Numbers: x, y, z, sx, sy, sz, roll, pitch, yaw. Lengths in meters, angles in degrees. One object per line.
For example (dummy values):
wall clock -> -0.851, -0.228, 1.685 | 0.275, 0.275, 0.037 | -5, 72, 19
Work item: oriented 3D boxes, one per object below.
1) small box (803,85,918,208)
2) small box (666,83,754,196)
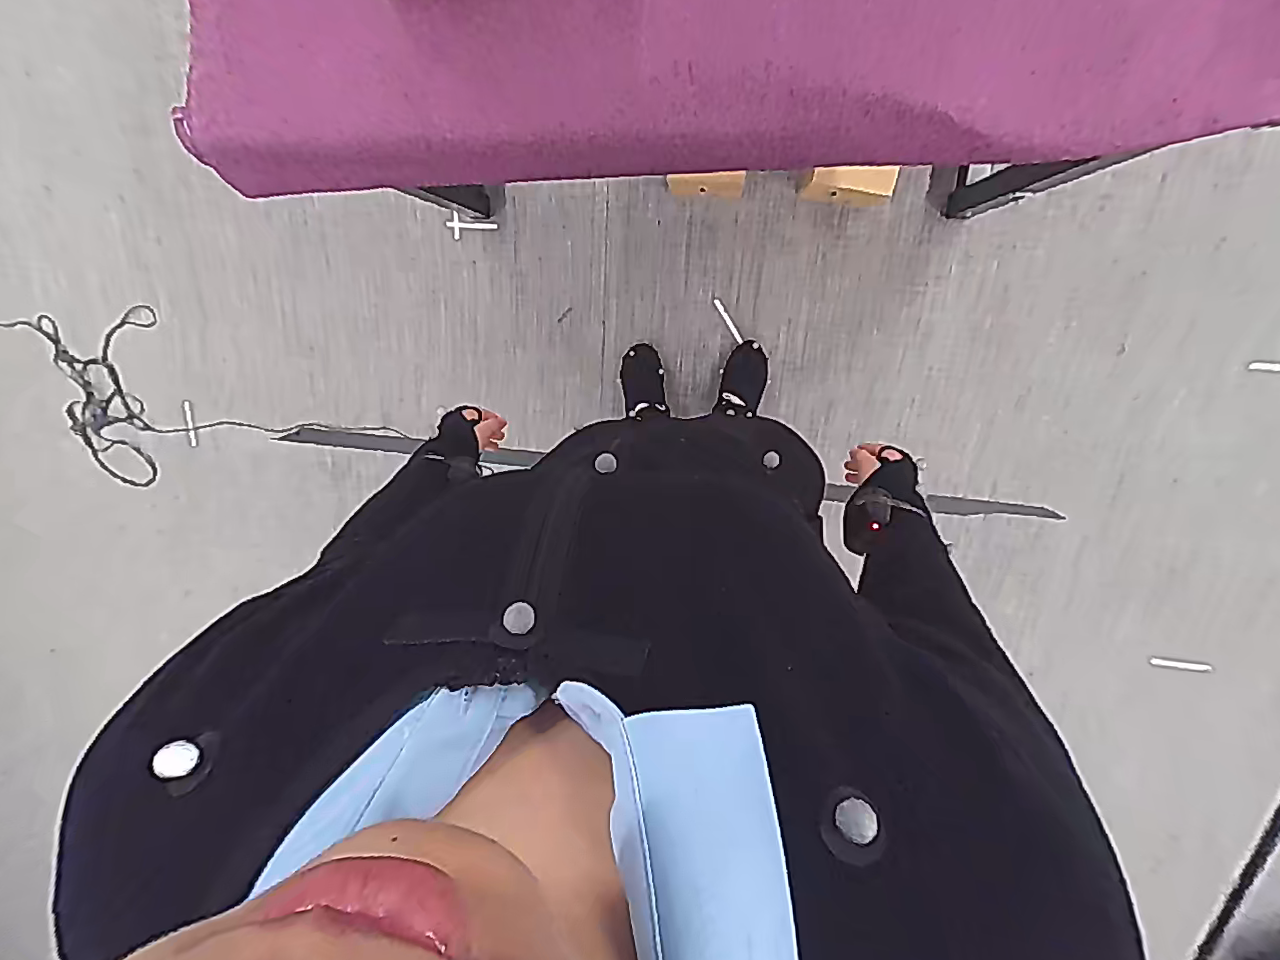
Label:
small box -> 0.457, -0.700, 1.157 | 0.168, 0.176, 0.179 | 13, 108, 4
small box -> 0.152, -0.734, 1.183 | 0.168, 0.176, 0.179 | 6, 107, 5
